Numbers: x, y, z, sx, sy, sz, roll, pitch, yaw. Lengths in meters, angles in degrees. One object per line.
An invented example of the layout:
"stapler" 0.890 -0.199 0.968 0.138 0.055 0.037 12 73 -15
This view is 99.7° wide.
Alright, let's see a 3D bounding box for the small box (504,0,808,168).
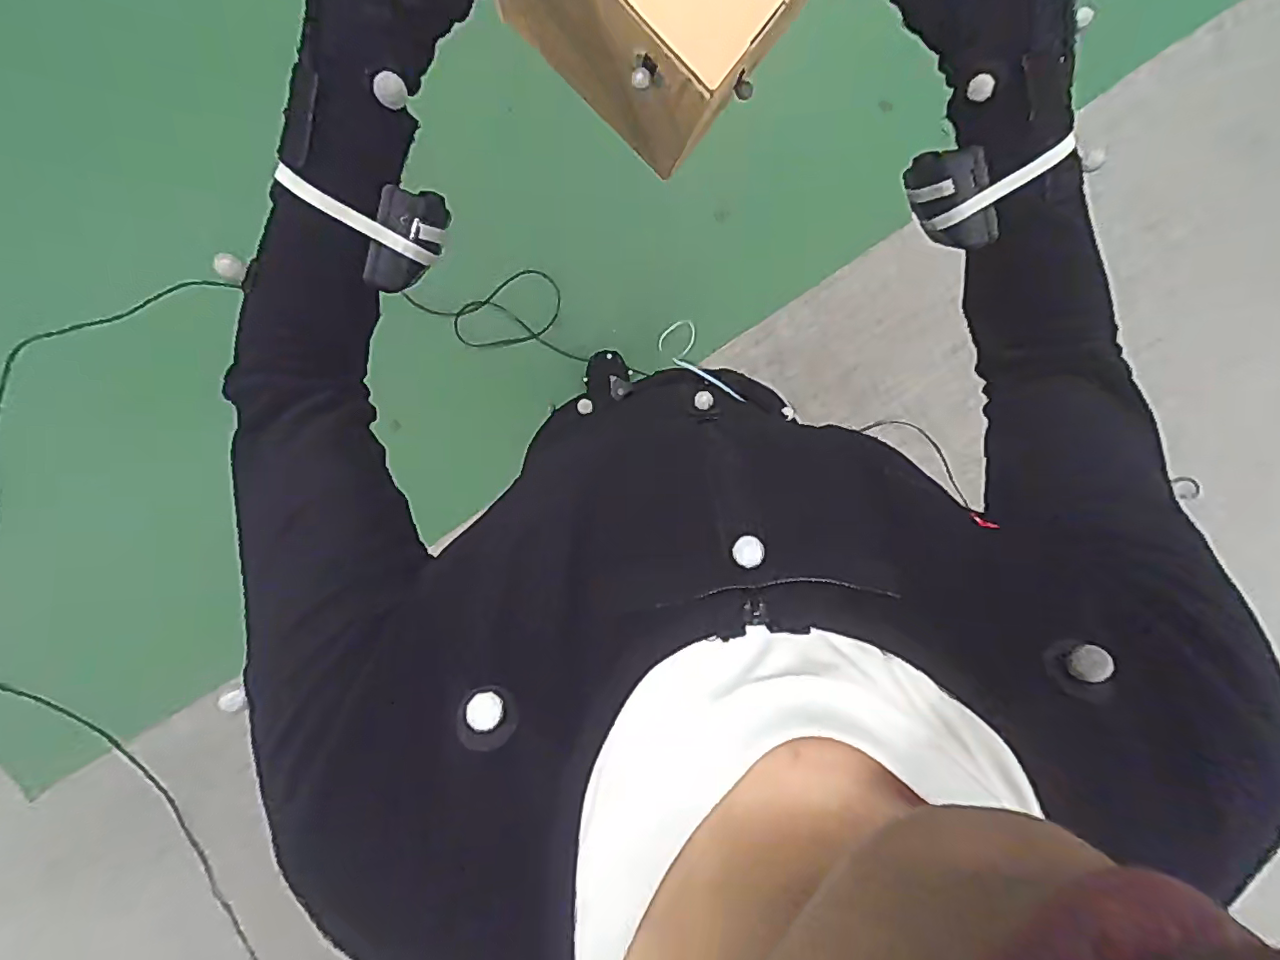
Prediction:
"small box" 0.017 -0.348 0.355 0.179 0.176 0.168 39 97 -15
